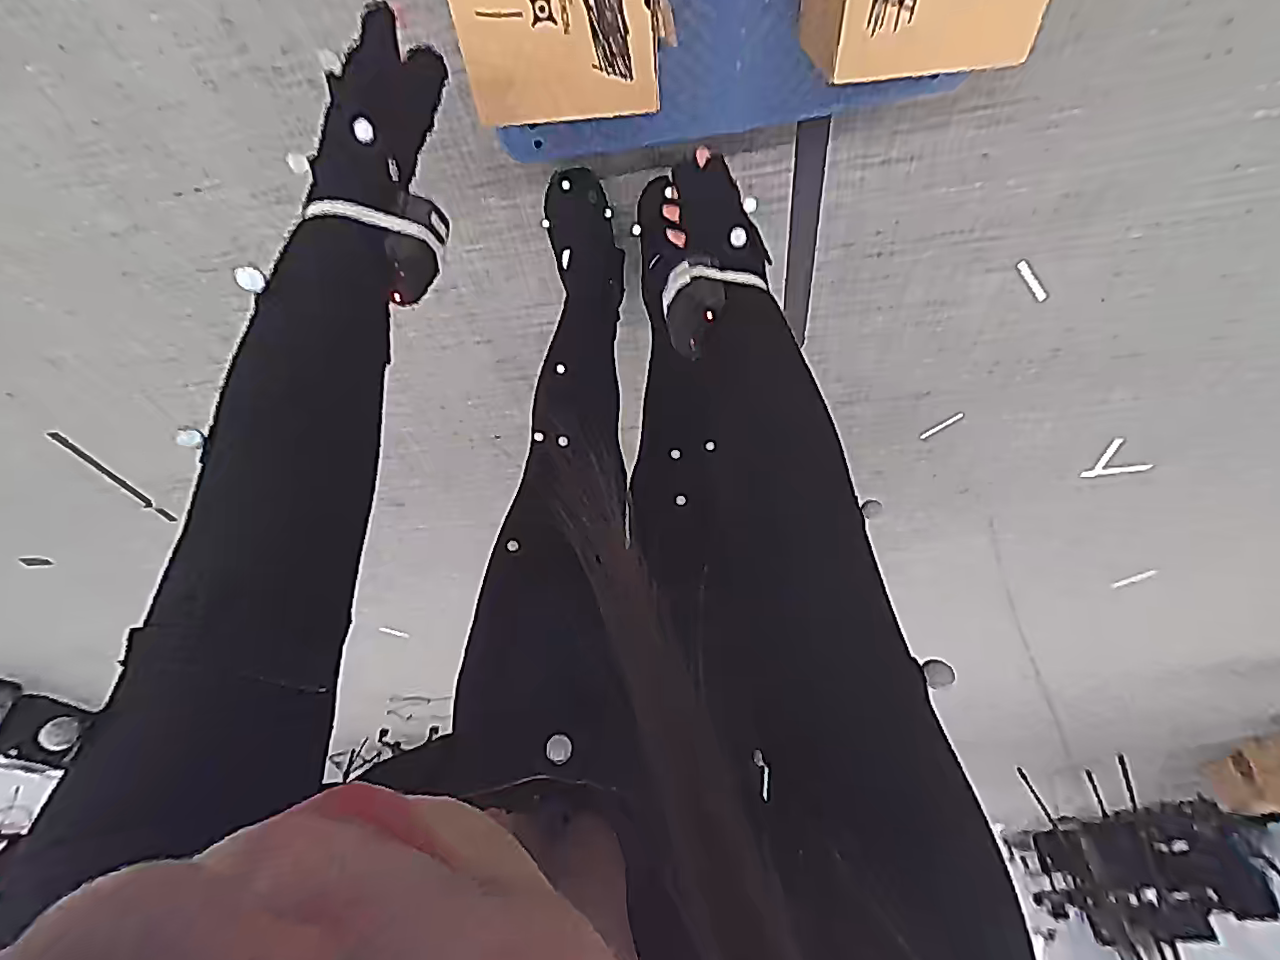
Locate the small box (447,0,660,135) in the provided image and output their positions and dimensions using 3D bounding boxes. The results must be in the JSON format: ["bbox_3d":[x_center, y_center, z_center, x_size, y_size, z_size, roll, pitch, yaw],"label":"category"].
[{"bbox_3d":[-0.074,-0.456,0.512,0.179,0.176,0.168,-2,141,4],"label":"small box"}]
